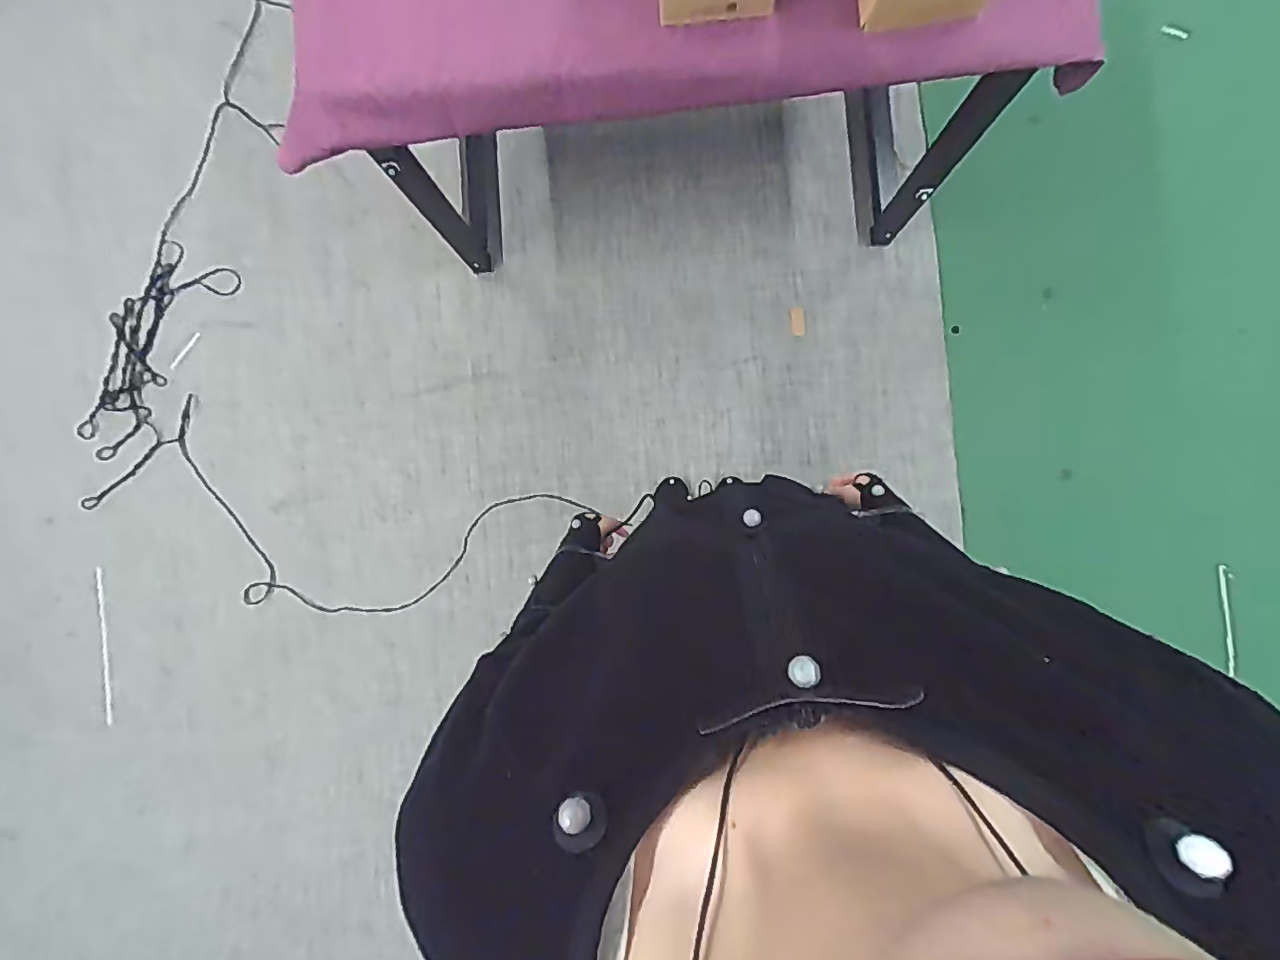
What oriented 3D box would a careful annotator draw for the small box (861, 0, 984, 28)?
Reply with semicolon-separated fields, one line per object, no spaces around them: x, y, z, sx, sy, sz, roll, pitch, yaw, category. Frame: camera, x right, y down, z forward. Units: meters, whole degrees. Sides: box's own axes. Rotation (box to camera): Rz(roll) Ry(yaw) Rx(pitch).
0.408;-0.757;0.720;0.179;0.176;0.168;-5;89;5;small box

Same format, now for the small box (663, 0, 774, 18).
0.110;-0.780;0.739;0.168;0.176;0.179;-2;87;3;small box

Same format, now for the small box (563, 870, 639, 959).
-0.101;1.133;1.373;0.179;0.176;0.168;-12;86;3;small box

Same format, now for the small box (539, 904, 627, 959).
-0.121;1.104;1.211;0.168;0.176;0.179;-8;87;3;small box
